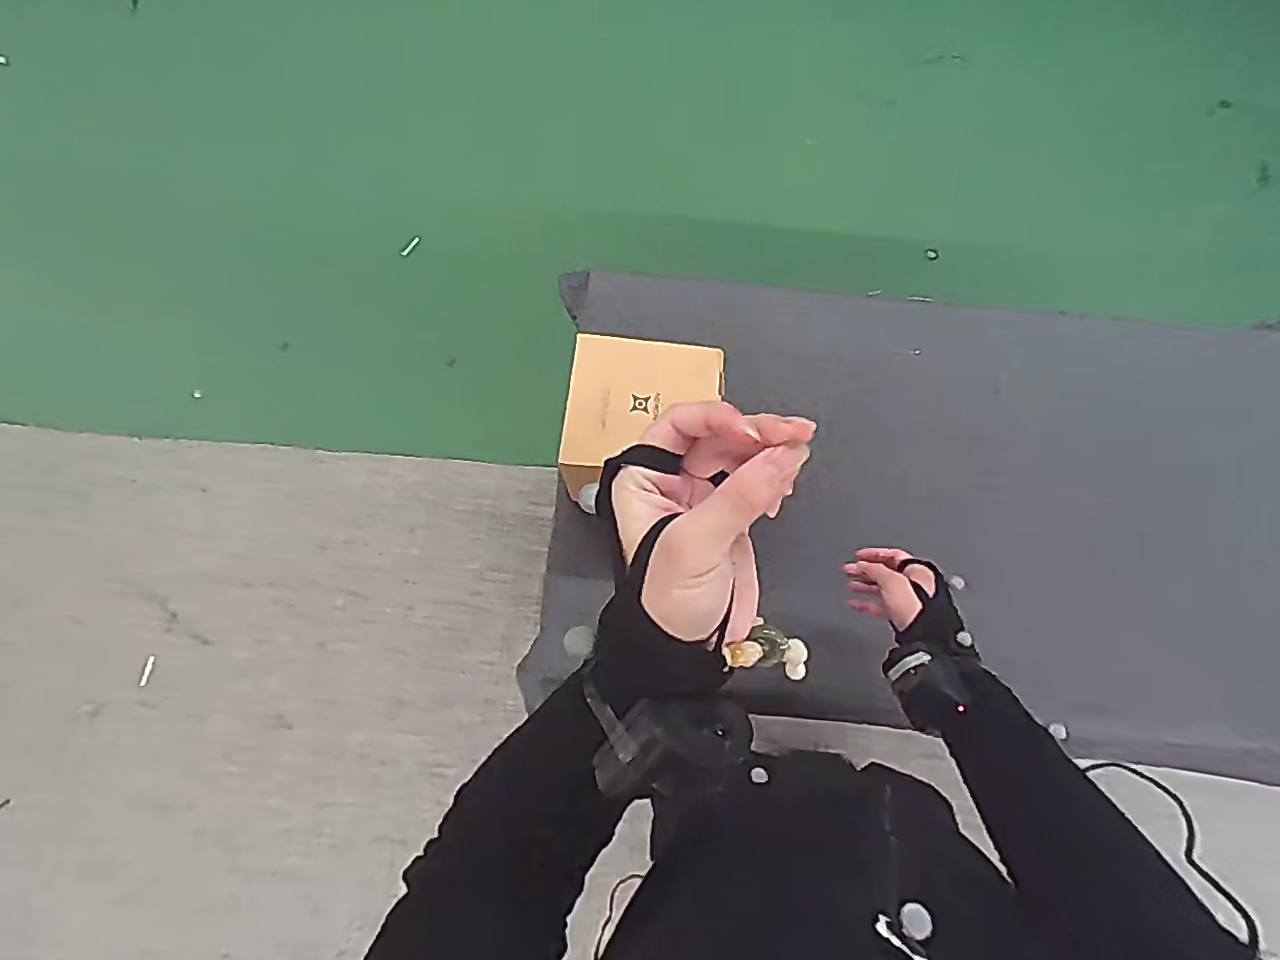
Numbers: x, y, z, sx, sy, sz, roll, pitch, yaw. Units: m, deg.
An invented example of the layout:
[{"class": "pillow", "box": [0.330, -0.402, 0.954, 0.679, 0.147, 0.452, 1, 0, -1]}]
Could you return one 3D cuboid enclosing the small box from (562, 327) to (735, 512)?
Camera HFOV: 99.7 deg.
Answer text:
[{"class": "small box", "box": [0.010, -0.065, 0.681, 0.179, 0.176, 0.168, 9, 72, 1]}]
